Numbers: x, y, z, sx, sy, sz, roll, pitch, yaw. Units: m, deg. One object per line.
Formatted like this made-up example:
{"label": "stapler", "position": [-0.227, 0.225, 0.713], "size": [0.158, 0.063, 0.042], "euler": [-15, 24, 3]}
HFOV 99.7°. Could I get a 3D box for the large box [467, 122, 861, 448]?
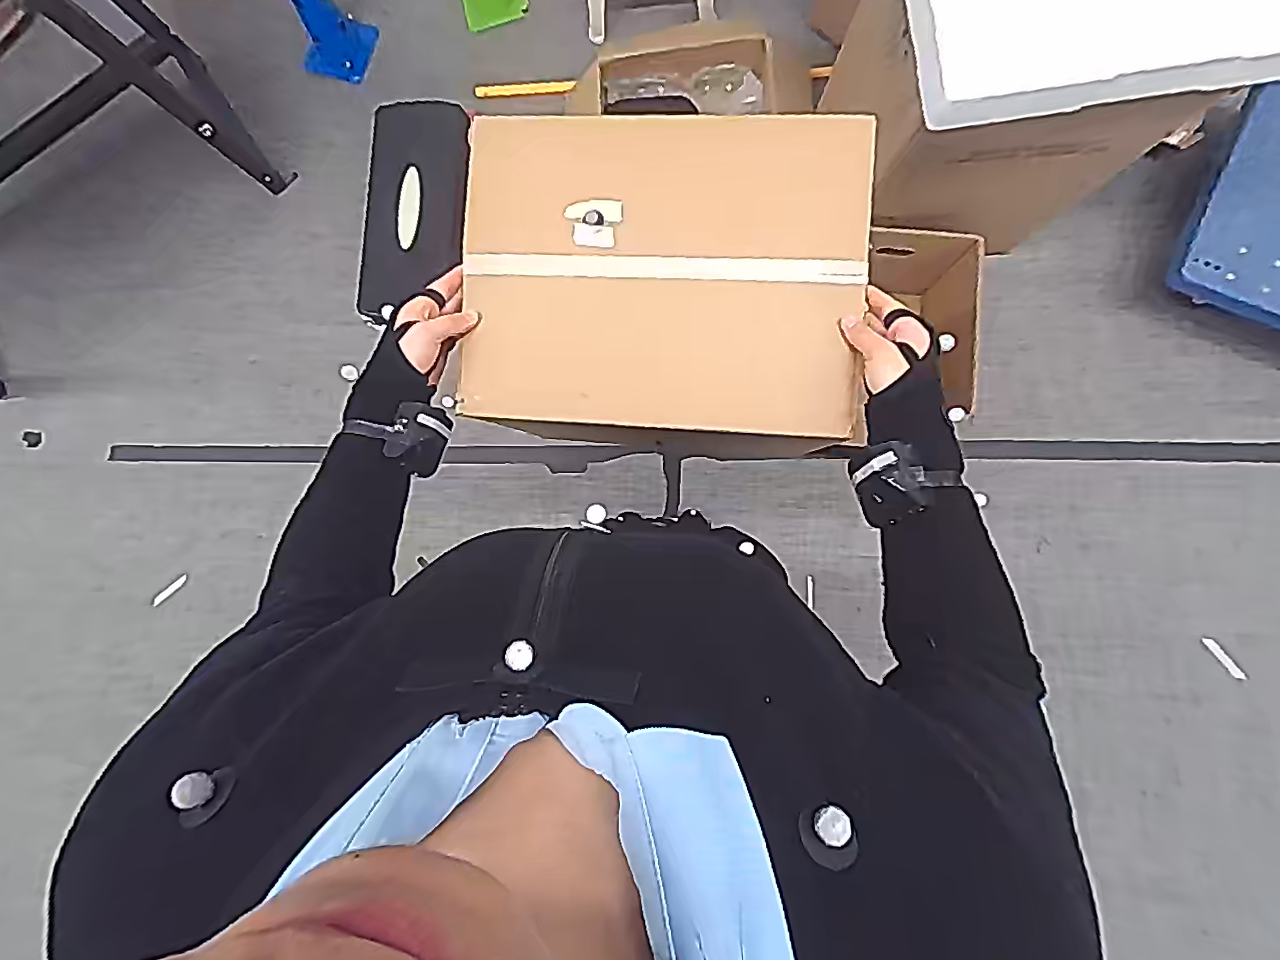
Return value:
{"label": "large box", "position": [0.036, -0.208, 0.703], "size": [0.408, 0.320, 0.320], "euler": [3, 88, 7]}
